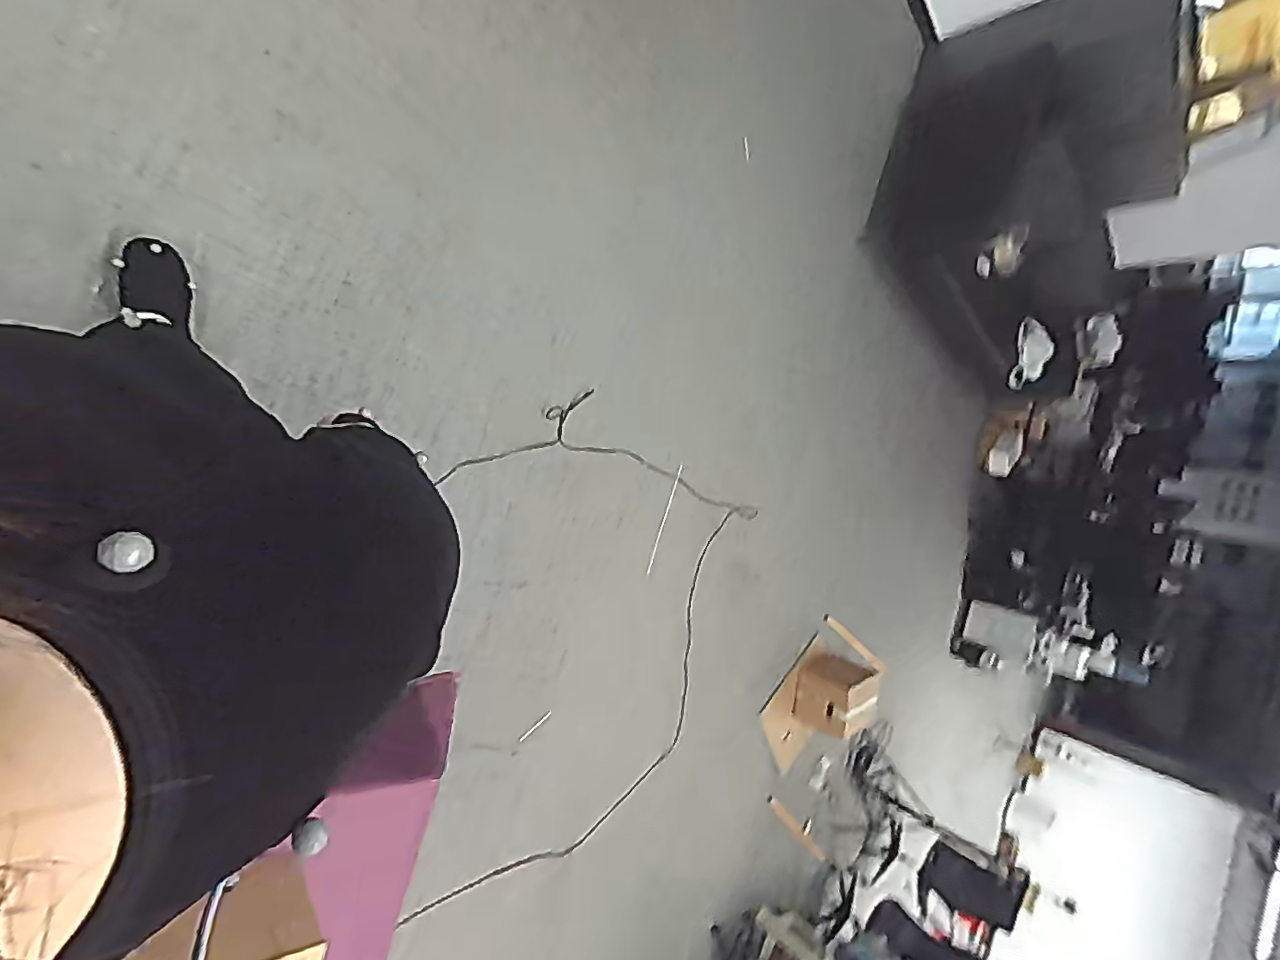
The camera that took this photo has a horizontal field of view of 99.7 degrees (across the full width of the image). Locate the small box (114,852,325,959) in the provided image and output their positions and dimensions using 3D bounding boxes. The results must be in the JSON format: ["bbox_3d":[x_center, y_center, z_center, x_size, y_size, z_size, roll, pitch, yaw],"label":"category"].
[{"bbox_3d":[-0.511,0.585,0.638,0.179,0.176,0.168,22,85,-42],"label":"small box"}]
